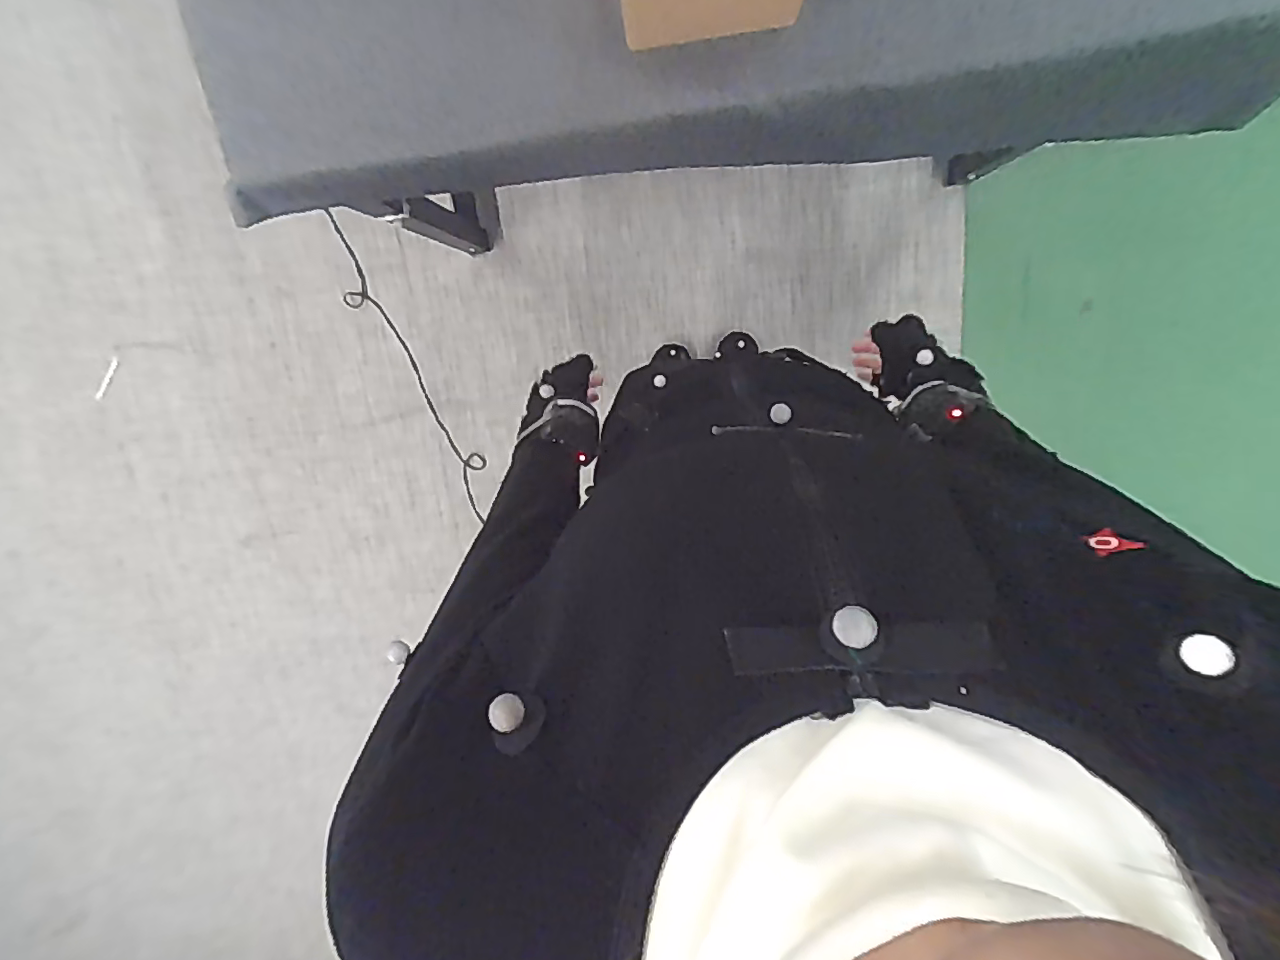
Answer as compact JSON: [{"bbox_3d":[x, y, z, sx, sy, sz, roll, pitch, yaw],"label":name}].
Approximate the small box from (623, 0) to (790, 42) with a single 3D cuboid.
[{"bbox_3d":[0.061,-0.536,0.486,0.179,0.176,0.168,-5,105,4],"label":"small box"}]
